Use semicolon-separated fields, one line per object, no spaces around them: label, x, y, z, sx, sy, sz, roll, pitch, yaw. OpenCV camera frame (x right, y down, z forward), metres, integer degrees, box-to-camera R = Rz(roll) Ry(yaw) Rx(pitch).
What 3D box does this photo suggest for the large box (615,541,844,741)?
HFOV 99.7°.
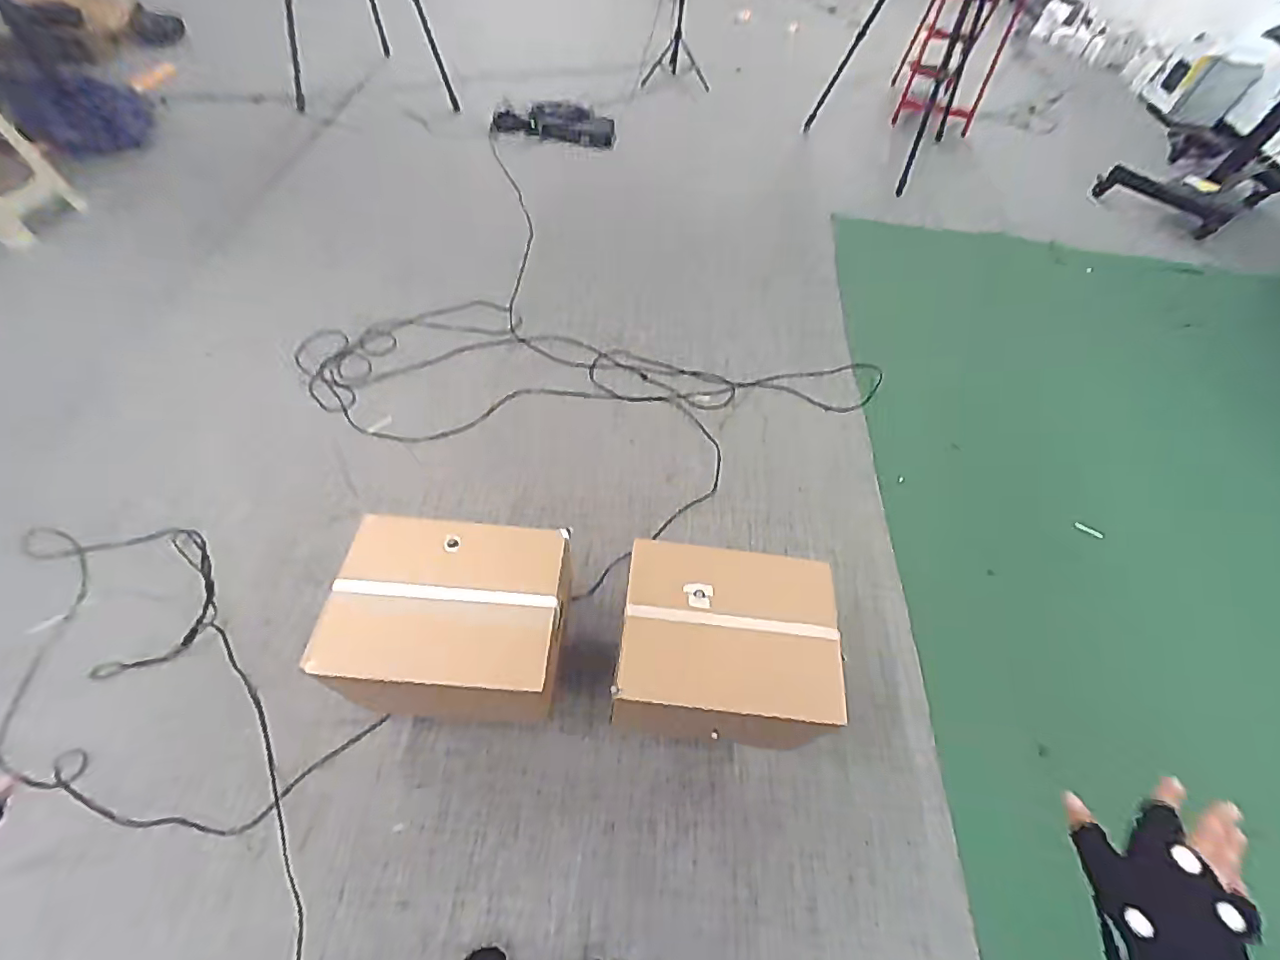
large box;0.168;0.355;1.153;0.408;0.320;0.320;7;56;0
